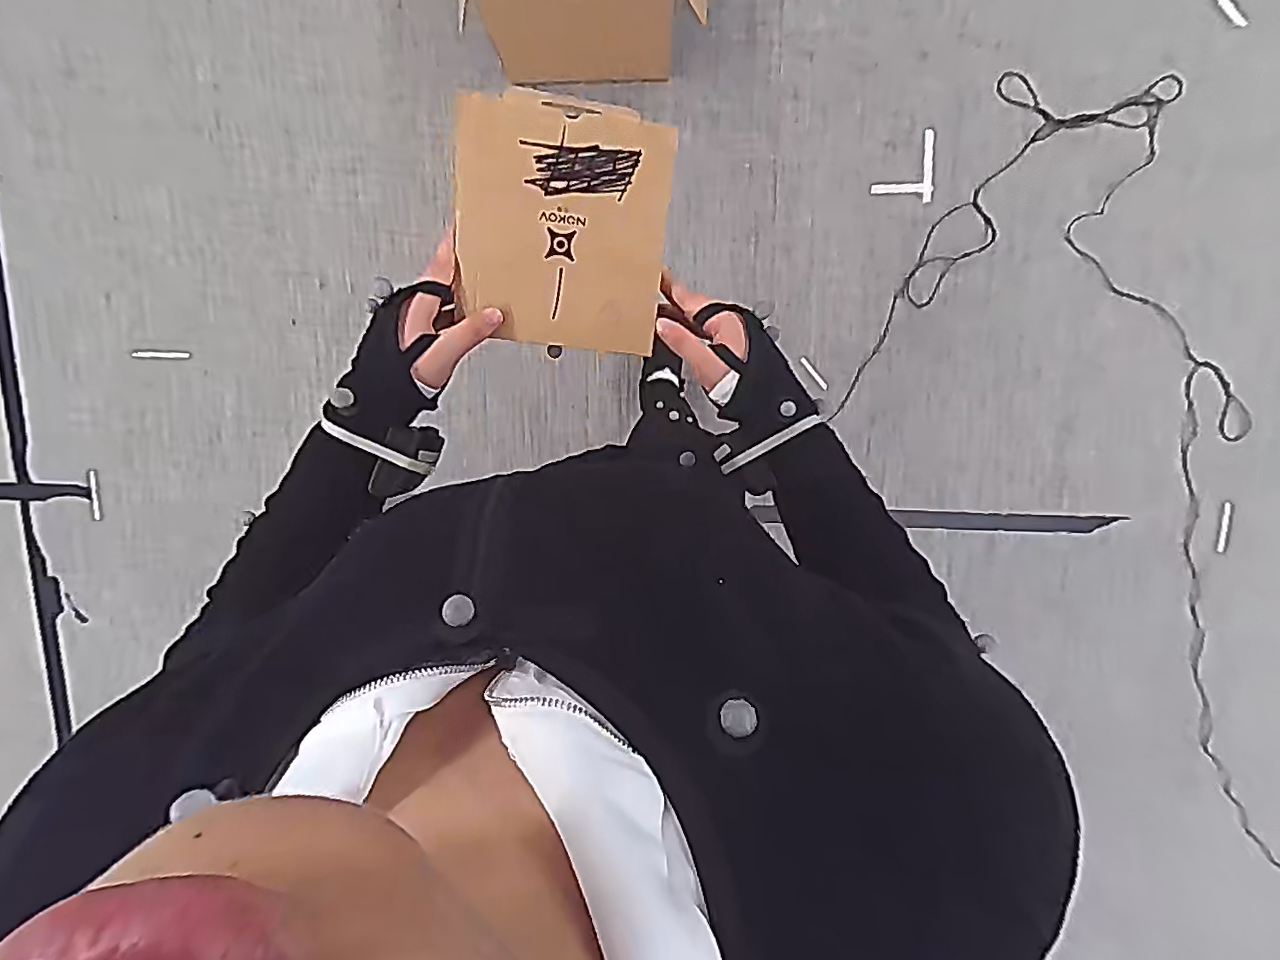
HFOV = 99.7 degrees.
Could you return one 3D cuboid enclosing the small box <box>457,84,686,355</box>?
[{"bbox_3d":[-0.064,-0.217,0.498,0.168,0.176,0.179,5,106,-7],"label":"small box"}]
